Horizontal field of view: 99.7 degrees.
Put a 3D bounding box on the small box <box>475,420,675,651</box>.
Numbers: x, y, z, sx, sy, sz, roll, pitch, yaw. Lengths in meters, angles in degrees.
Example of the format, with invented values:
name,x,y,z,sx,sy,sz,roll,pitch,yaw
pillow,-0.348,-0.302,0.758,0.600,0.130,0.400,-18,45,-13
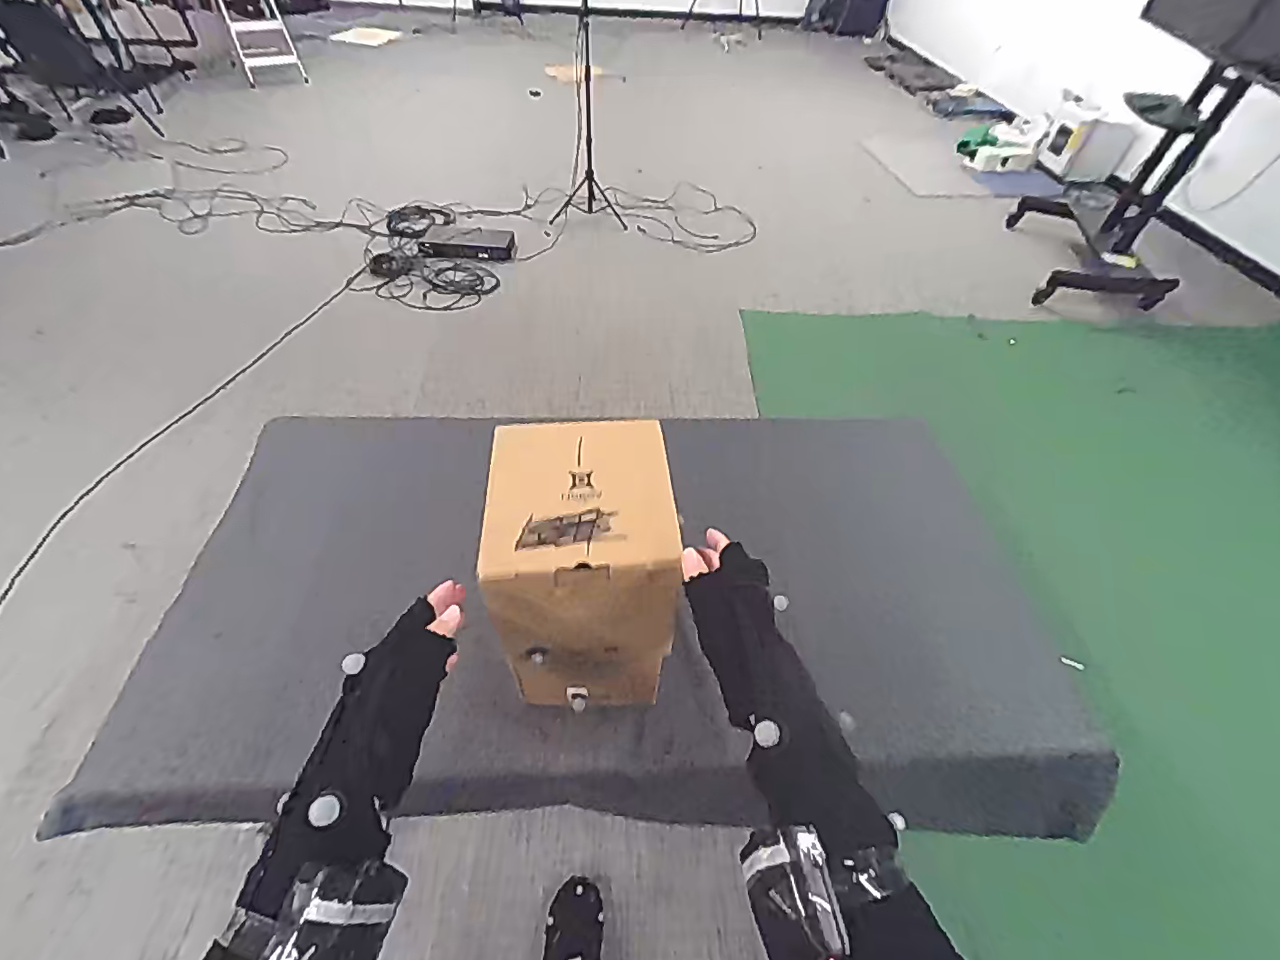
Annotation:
name,x,y,z,sx,sy,sz,roll,pitch,yaw
small box,-0.058,0.061,0.547,0.168,0.176,0.179,-3,47,-4

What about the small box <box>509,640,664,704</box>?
name,x,y,z,sx,sy,sz,roll,pitch,yaw
small box,-0.060,0.163,0.677,0.168,0.176,0.179,0,49,-2
